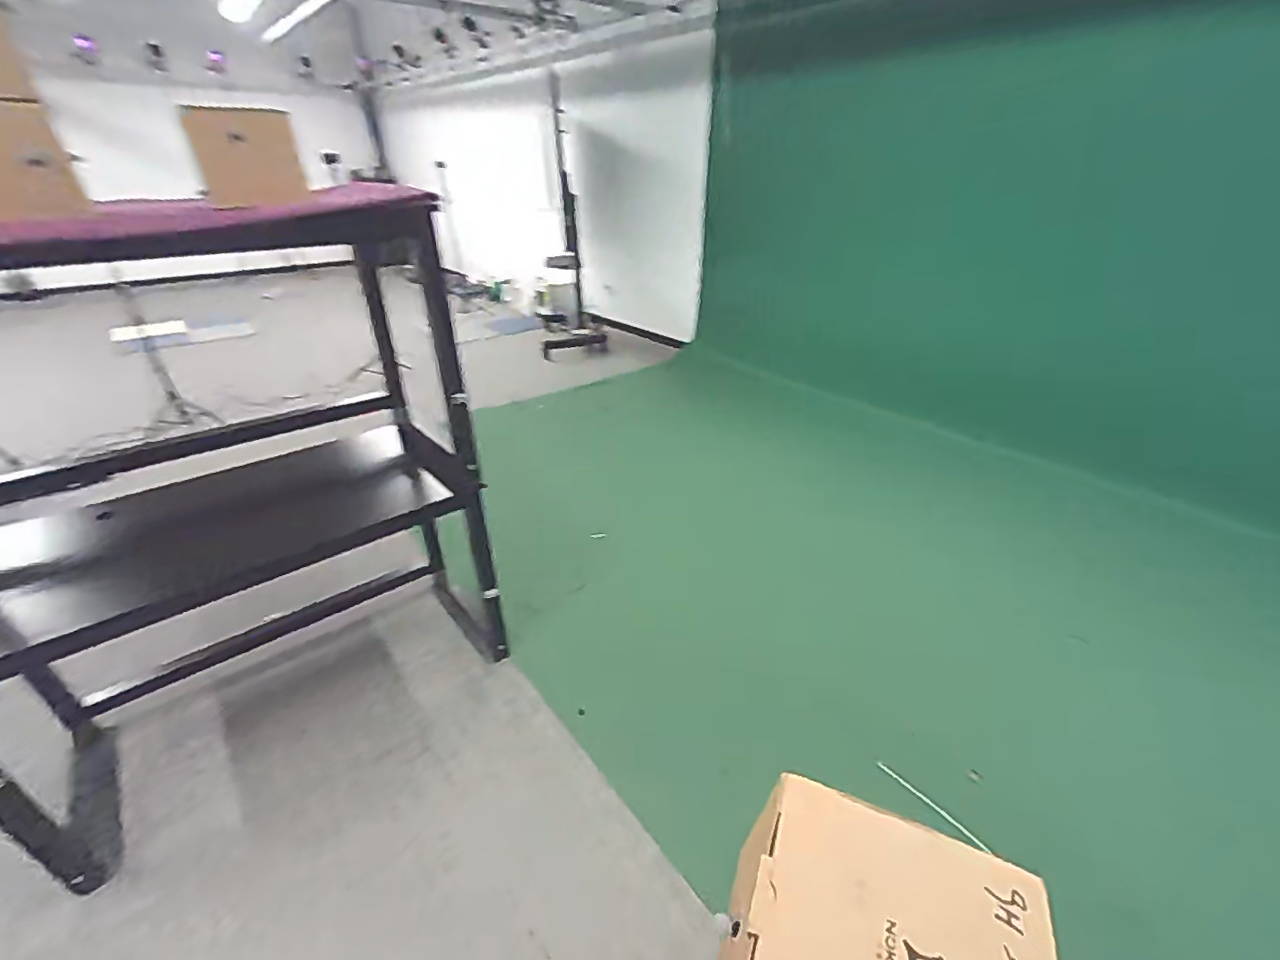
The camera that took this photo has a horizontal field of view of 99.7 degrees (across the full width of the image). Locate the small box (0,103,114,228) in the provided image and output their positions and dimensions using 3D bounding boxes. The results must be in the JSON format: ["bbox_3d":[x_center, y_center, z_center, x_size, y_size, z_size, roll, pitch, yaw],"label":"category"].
[{"bbox_3d":[-1.034,-0.528,0.912,0.179,0.176,0.168,-24,37,-34],"label":"small box"}]

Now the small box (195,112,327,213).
[{"bbox_3d":[-0.782,-0.649,1.121,0.179,0.176,0.168,-21,34,-33],"label":"small box"}]
